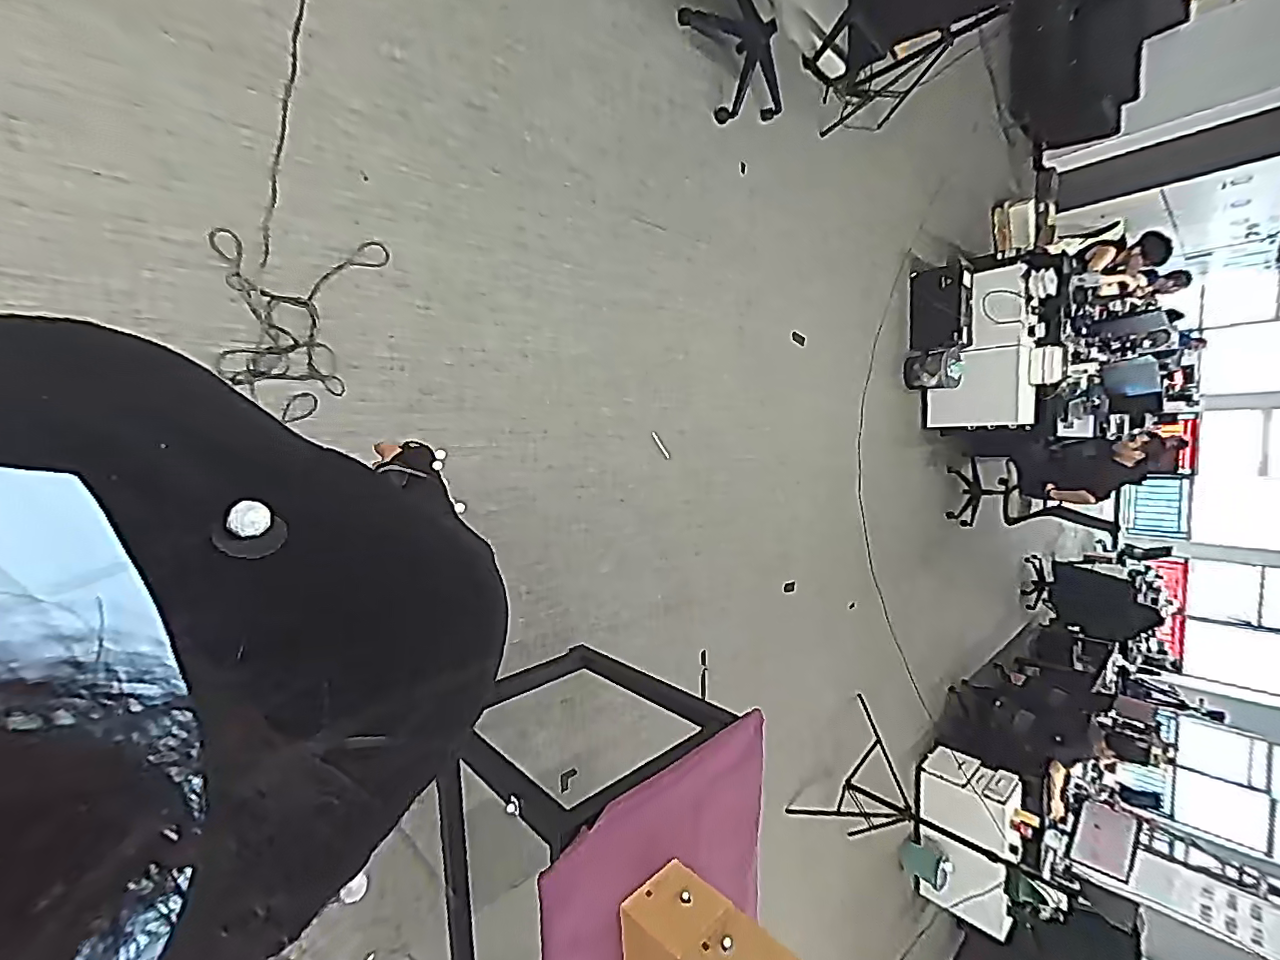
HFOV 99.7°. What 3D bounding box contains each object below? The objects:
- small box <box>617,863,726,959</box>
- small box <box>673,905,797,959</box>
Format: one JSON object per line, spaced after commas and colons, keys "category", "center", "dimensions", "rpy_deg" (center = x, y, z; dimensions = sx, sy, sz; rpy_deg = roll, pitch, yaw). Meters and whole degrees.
{"category": "small box", "center": [0.066, 0.945, 1.122], "dimensions": [0.168, 0.176, 0.179], "rpy_deg": [-10, 100, -42]}
{"category": "small box", "center": [0.175, 0.956, 0.999], "dimensions": [0.168, 0.176, 0.179], "rpy_deg": [-10, 100, -43]}
